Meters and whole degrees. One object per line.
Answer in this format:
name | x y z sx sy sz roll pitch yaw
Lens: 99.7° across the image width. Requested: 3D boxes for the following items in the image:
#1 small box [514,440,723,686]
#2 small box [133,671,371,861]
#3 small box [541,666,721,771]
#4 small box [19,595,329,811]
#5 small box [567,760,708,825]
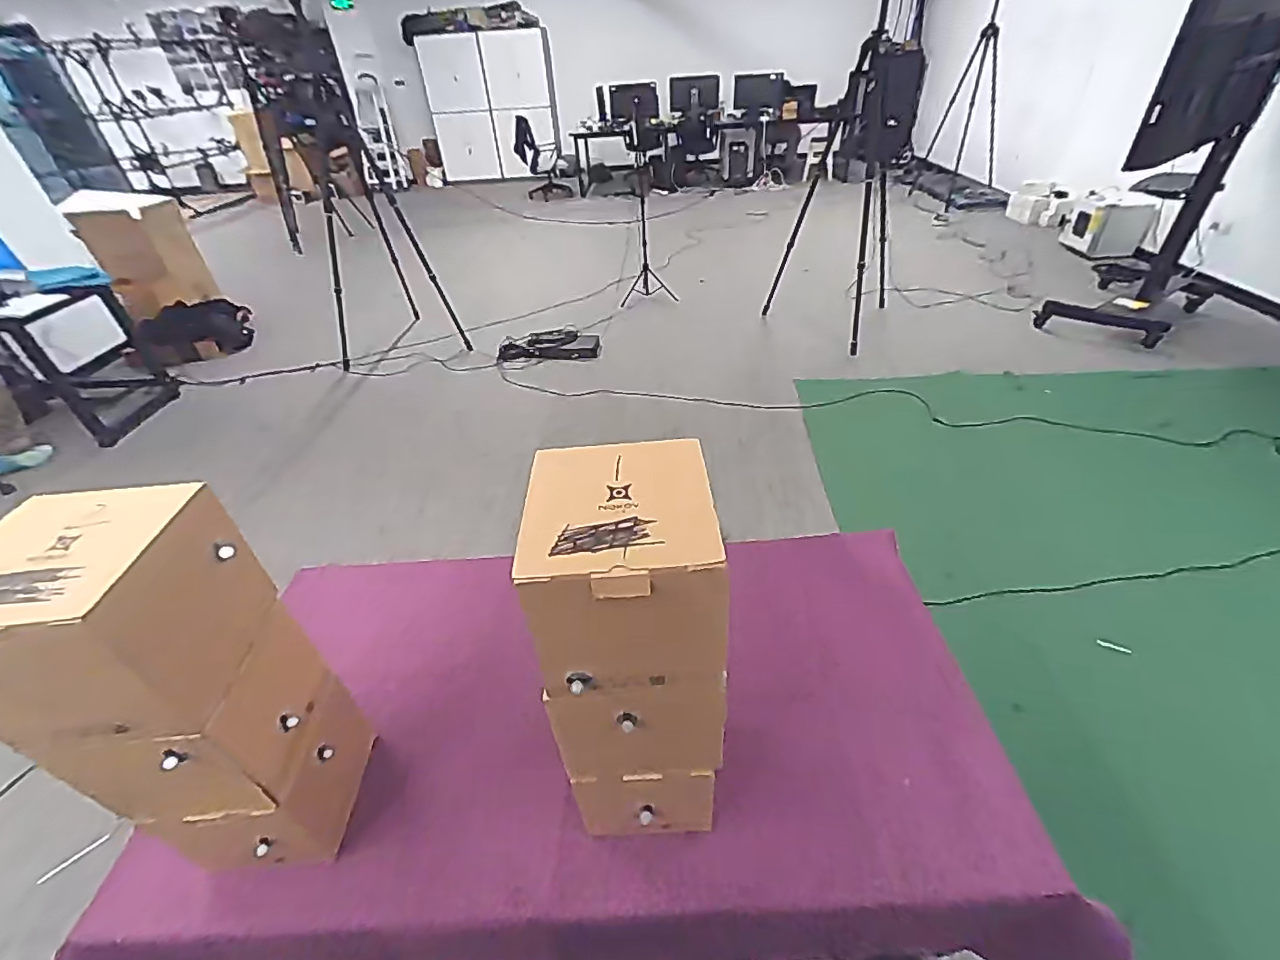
small box | -0.013 0.082 0.524 0.168 0.176 0.179 -4 37 0
small box | -0.487 0.382 0.718 0.168 0.176 0.179 -3 38 -1
small box | -0.005 0.214 0.622 0.179 0.176 0.168 -3 39 1
small box | -0.499 0.255 0.618 0.179 0.176 0.168 -4 39 -3
small box | 0.002 0.343 0.726 0.168 0.176 0.179 -3 39 1
